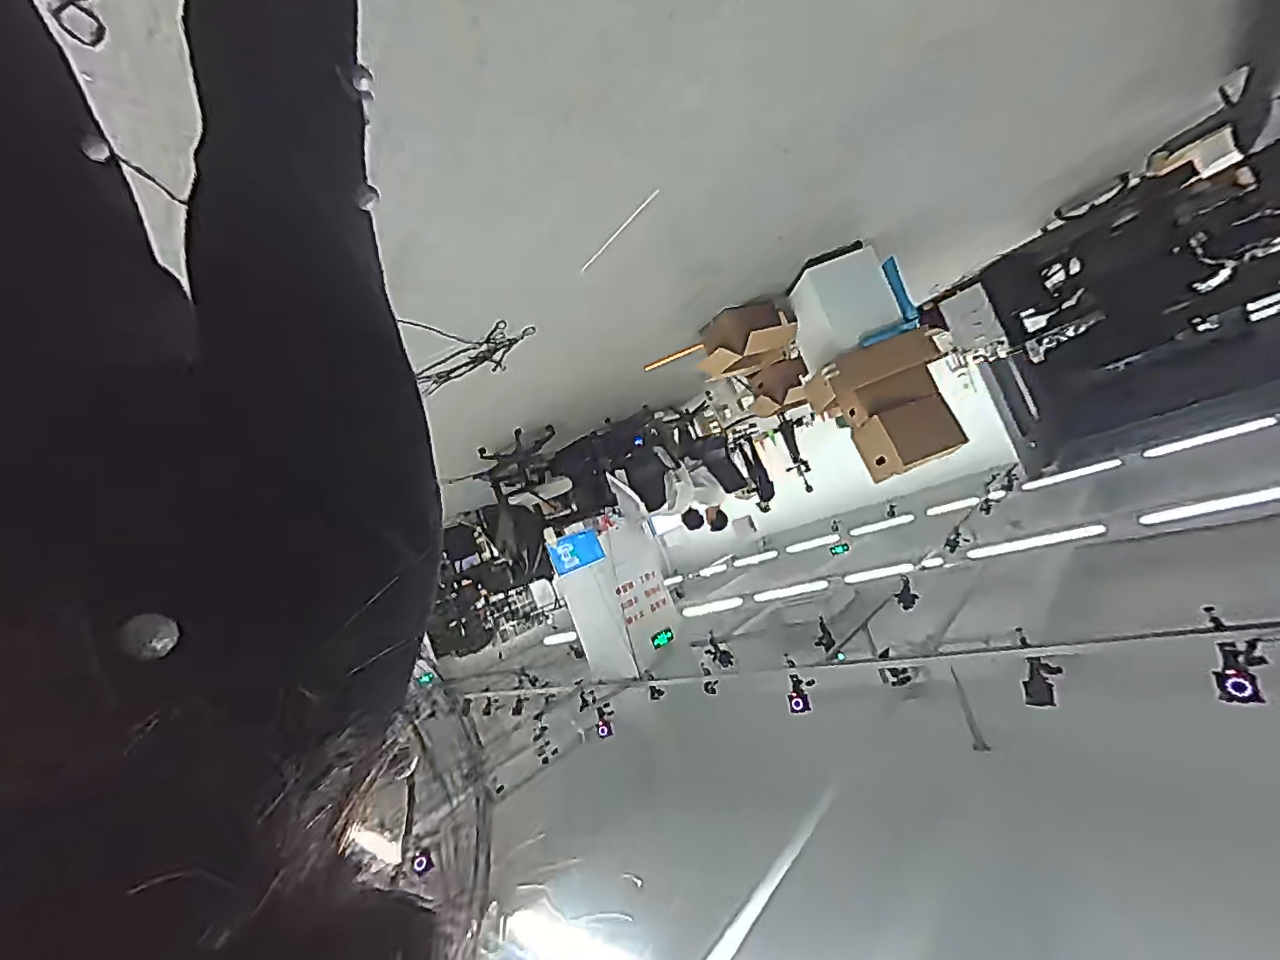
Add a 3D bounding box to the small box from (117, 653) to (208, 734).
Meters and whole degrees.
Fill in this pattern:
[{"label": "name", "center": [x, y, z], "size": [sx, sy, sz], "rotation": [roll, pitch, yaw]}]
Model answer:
[{"label": "small box", "center": [-1.419, 0.627, 1.603], "size": [0.179, 0.176, 0.168], "rotation": [-26, 174, 42]}]
